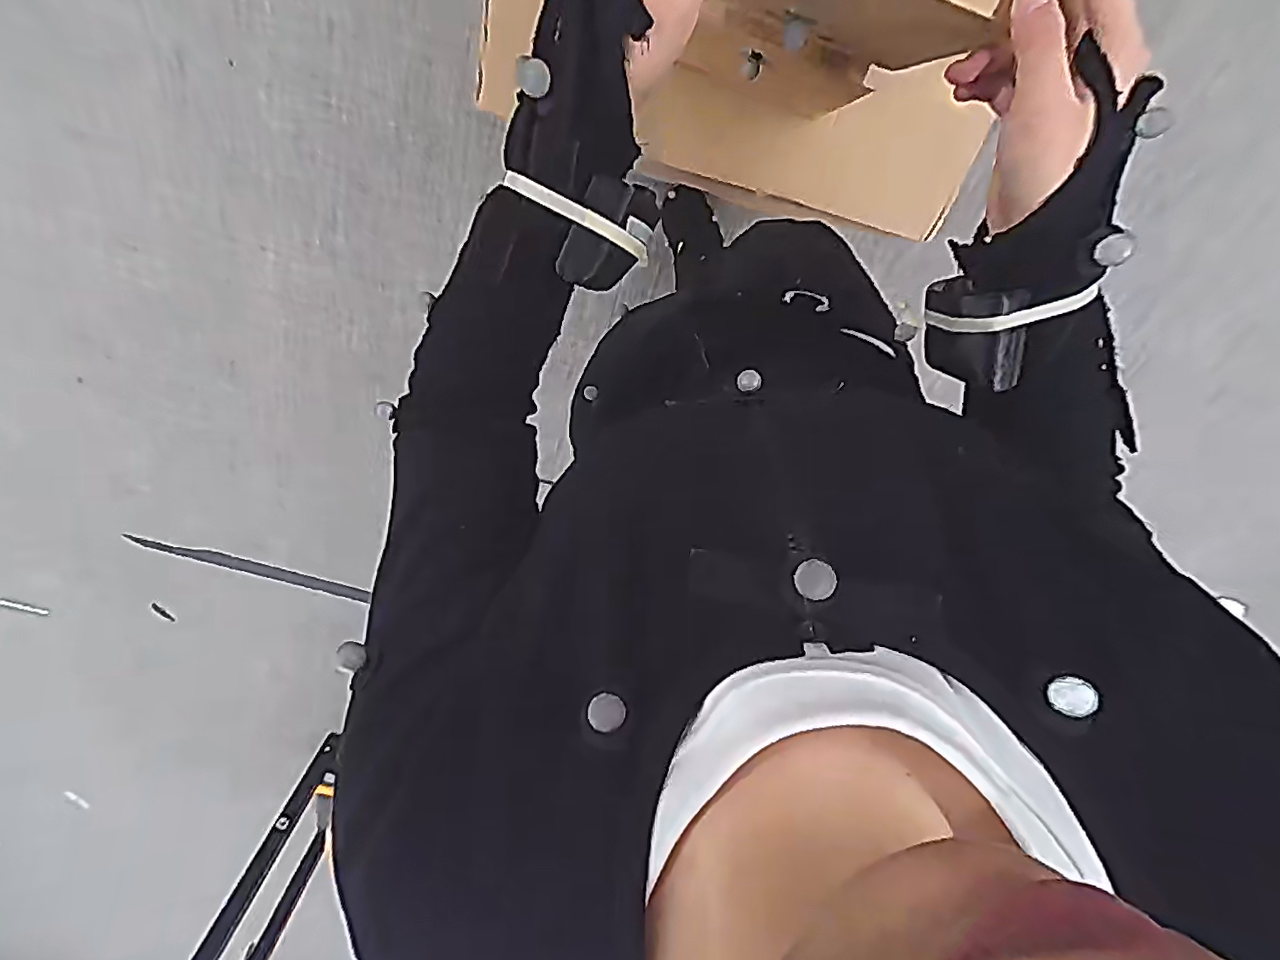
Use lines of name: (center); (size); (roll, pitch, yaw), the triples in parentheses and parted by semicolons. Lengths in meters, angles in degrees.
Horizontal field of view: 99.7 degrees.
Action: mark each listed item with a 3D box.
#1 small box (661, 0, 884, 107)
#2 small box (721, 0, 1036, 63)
small box: (0.126, -0.431, 0.440); (0.179, 0.176, 0.168); (18, 117, -7)
small box: (0.128, -0.346, 0.269); (0.168, 0.176, 0.179); (15, 122, -9)
